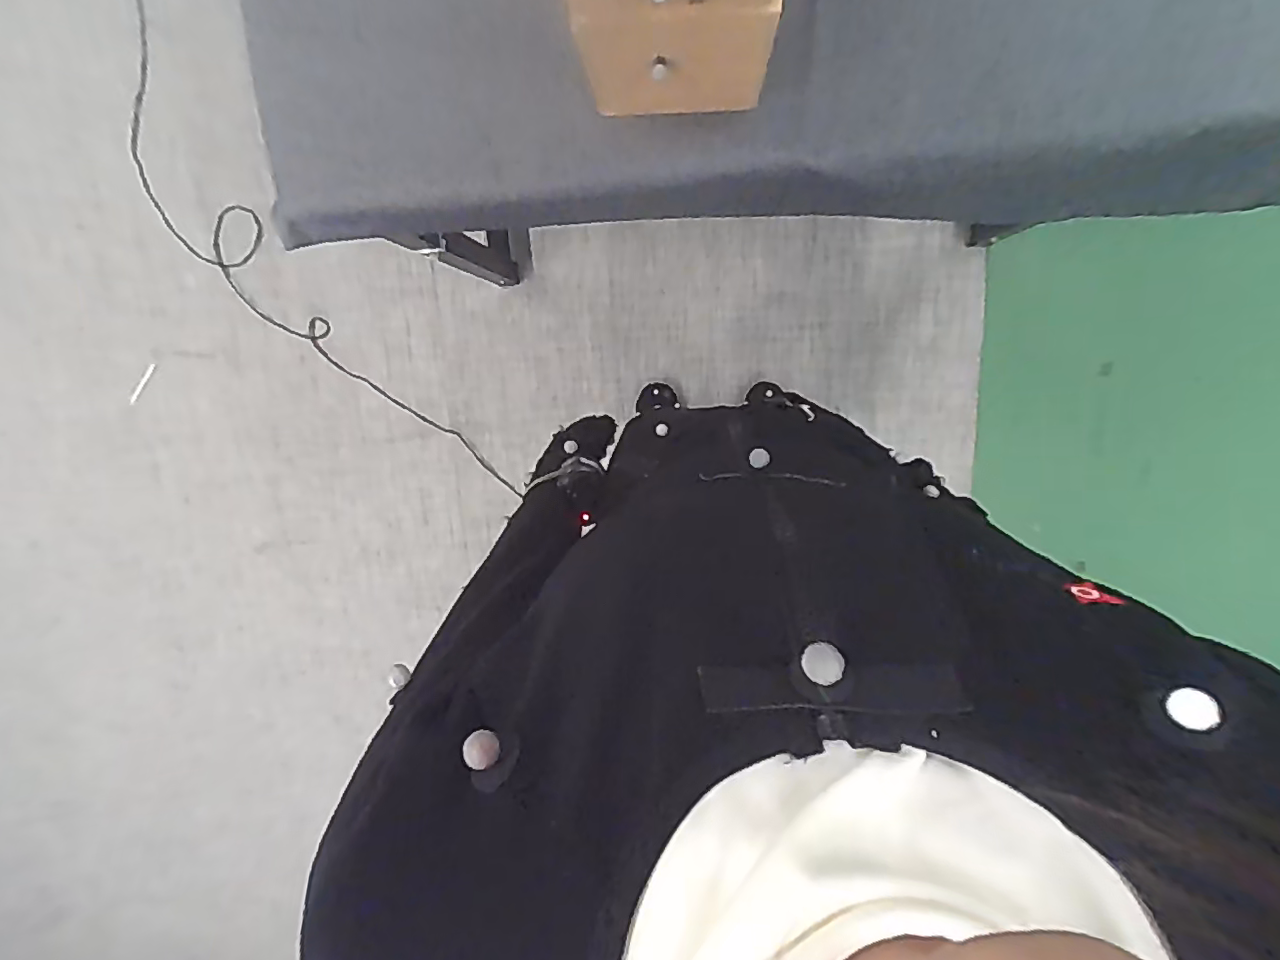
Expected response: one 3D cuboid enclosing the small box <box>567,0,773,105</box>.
[{"bbox_3d":[0.034,-0.482,0.508,0.179,0.176,0.168,1,102,5],"label":"small box"}]
